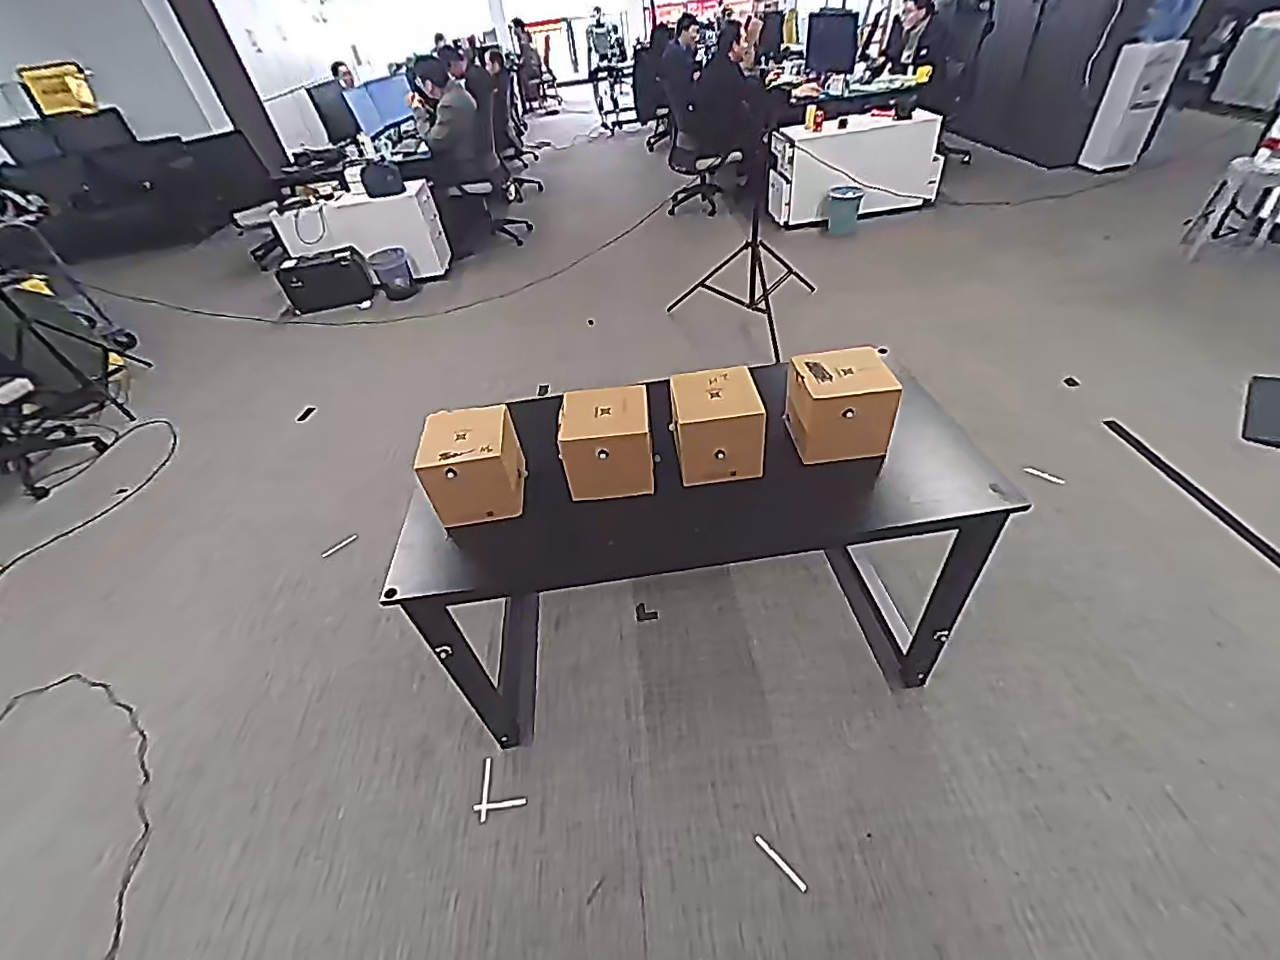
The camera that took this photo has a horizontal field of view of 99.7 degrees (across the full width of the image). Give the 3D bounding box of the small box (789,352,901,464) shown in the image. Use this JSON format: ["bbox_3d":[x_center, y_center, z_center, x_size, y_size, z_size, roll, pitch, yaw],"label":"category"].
[{"bbox_3d":[0.420,-0.149,1.148,0.179,0.176,0.168,-6,42,1],"label":"small box"}]

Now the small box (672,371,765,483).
[{"bbox_3d":[0.163,-0.106,1.144,0.168,0.176,0.179,-7,42,1],"label":"small box"}]

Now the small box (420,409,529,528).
[{"bbox_3d":[-0.335,-0.023,1.136,0.168,0.176,0.179,-9,42,0],"label":"small box"}]
